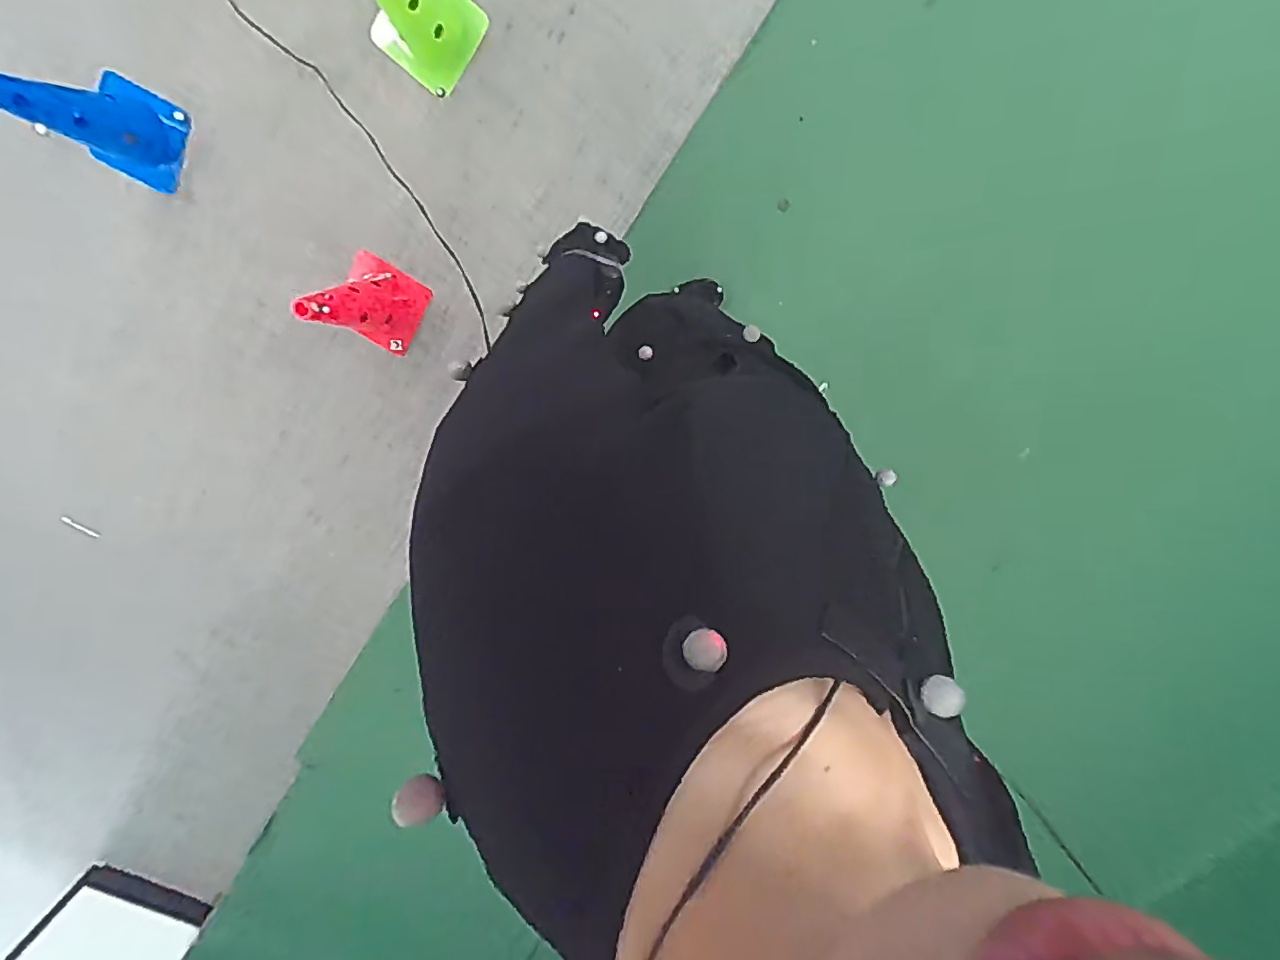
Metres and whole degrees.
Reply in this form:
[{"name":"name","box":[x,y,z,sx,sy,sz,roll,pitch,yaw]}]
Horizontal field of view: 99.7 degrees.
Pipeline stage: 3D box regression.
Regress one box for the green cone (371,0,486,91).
[{"name":"green cone","box":[-0.464,-0.945,1.018,0.202,0.368,0.200,36,106,-11]}]
